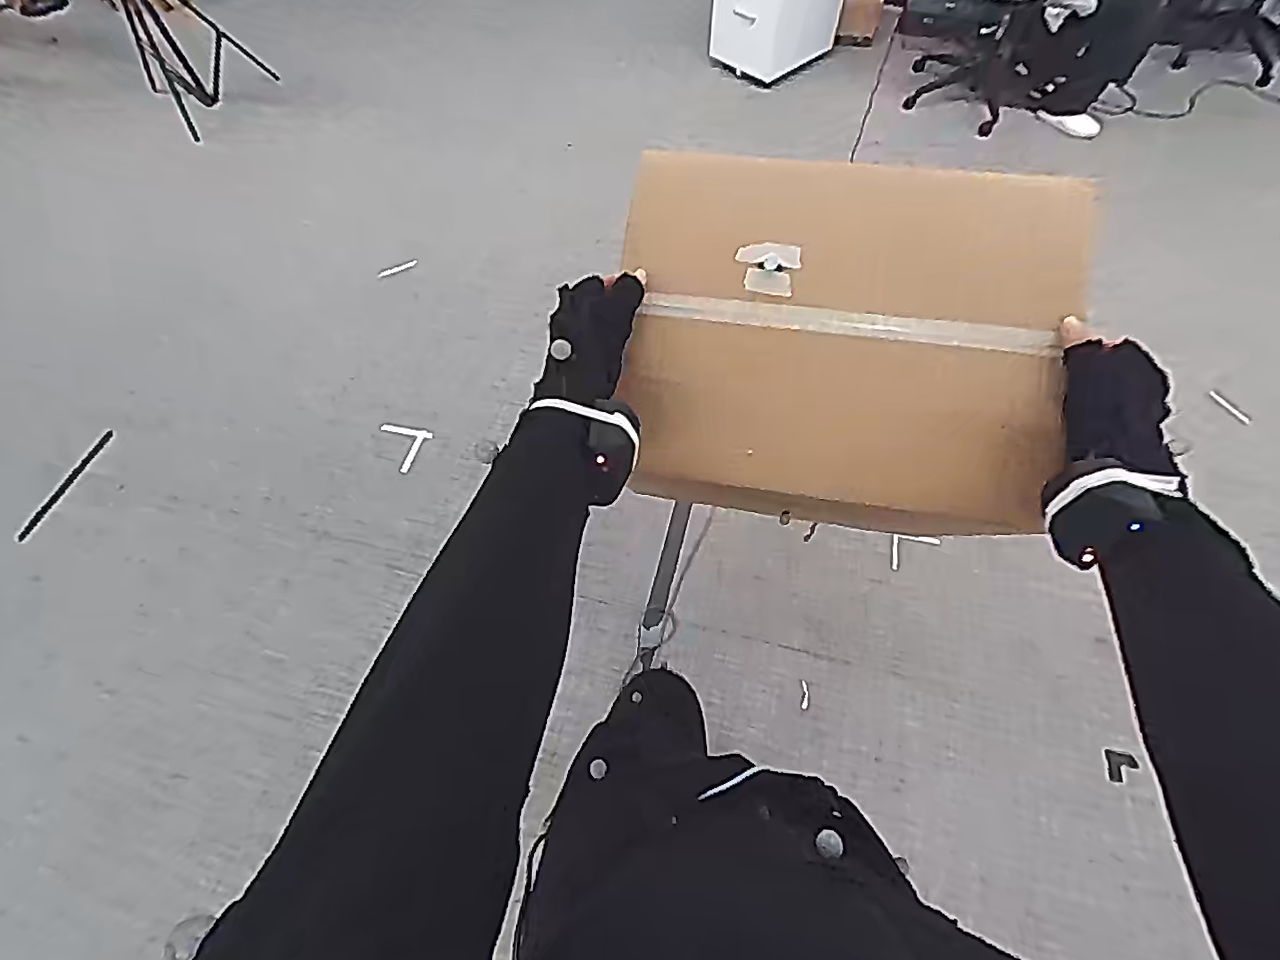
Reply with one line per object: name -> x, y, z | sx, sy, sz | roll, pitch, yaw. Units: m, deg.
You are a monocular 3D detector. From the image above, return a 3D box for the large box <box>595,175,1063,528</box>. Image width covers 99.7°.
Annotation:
large box -> 0.193, -0.120, 0.654 | 0.408, 0.320, 0.320 | 8, 83, 9
